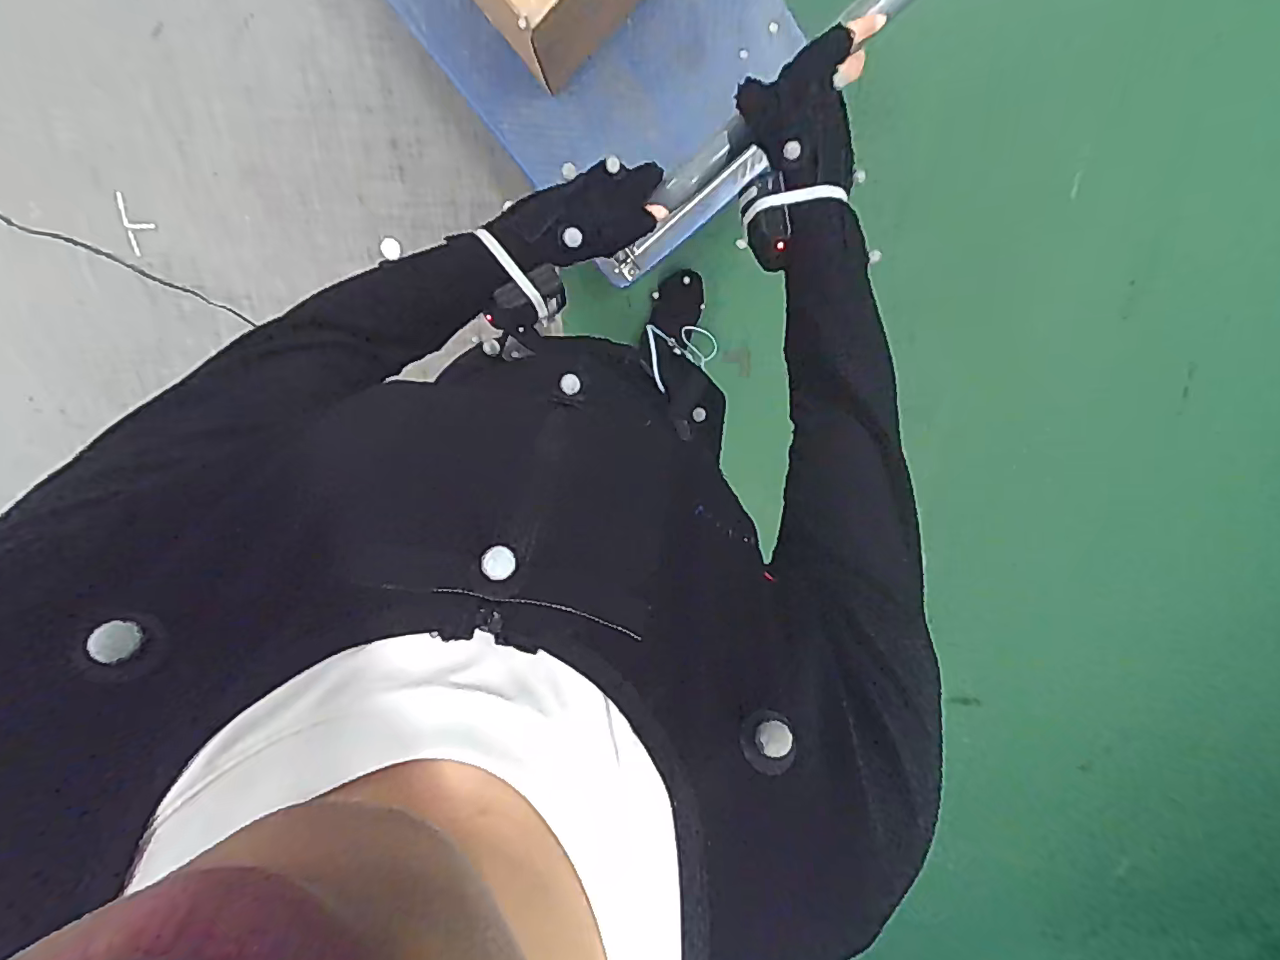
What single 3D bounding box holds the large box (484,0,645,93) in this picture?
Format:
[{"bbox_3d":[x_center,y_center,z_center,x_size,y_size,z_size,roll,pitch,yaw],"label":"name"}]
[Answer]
[{"bbox_3d":[-0.105,-0.927,0.833,0.408,0.320,0.320,-41,106,12],"label":"large box"}]
